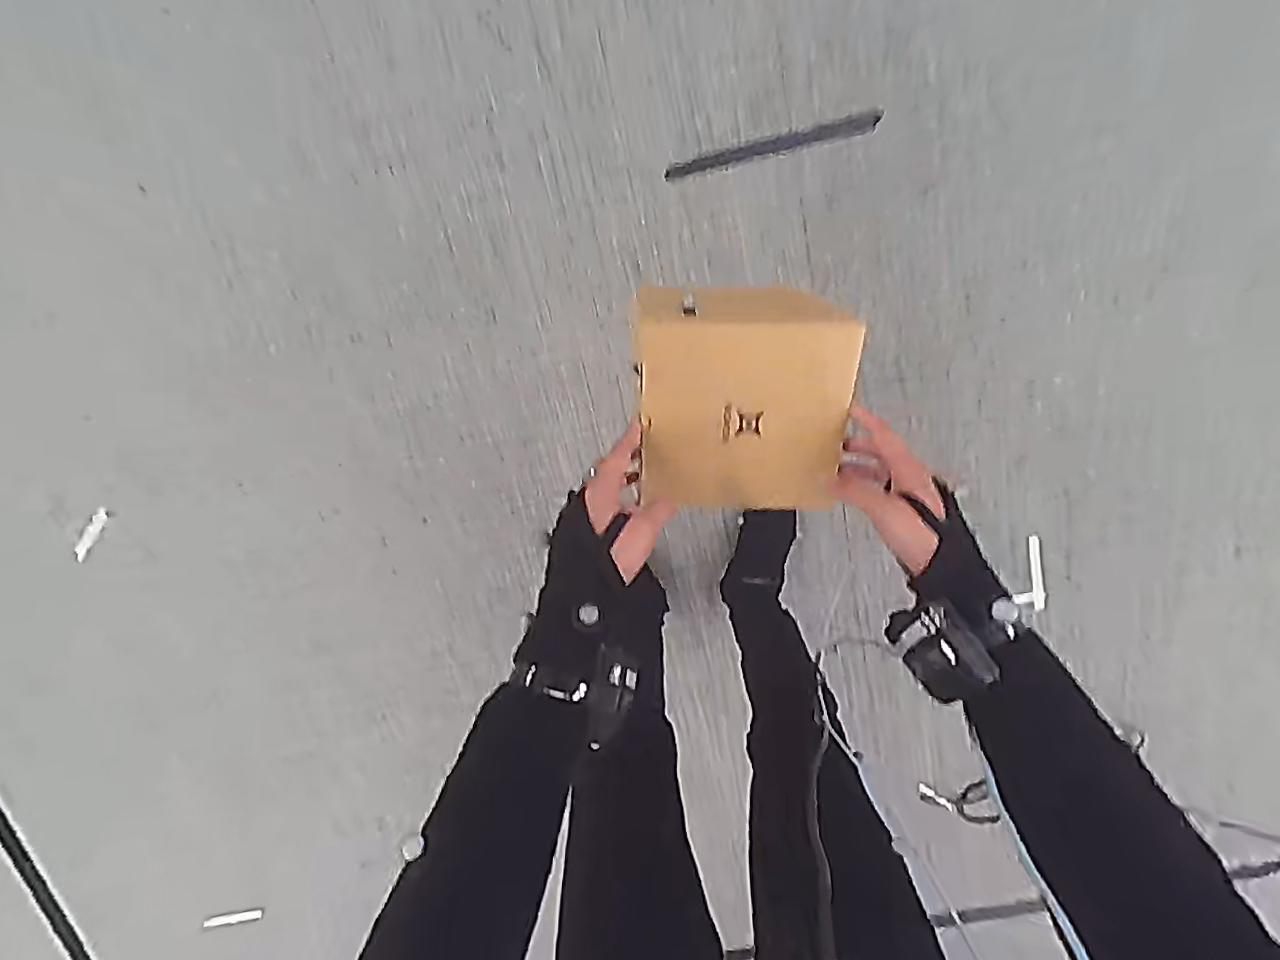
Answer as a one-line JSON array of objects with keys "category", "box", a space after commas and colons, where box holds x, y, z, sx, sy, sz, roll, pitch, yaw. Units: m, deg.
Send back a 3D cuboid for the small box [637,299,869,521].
[{"category": "small box", "box": [0.087, -0.075, 0.518, 0.179, 0.176, 0.168, 0, 118, 0]}]
